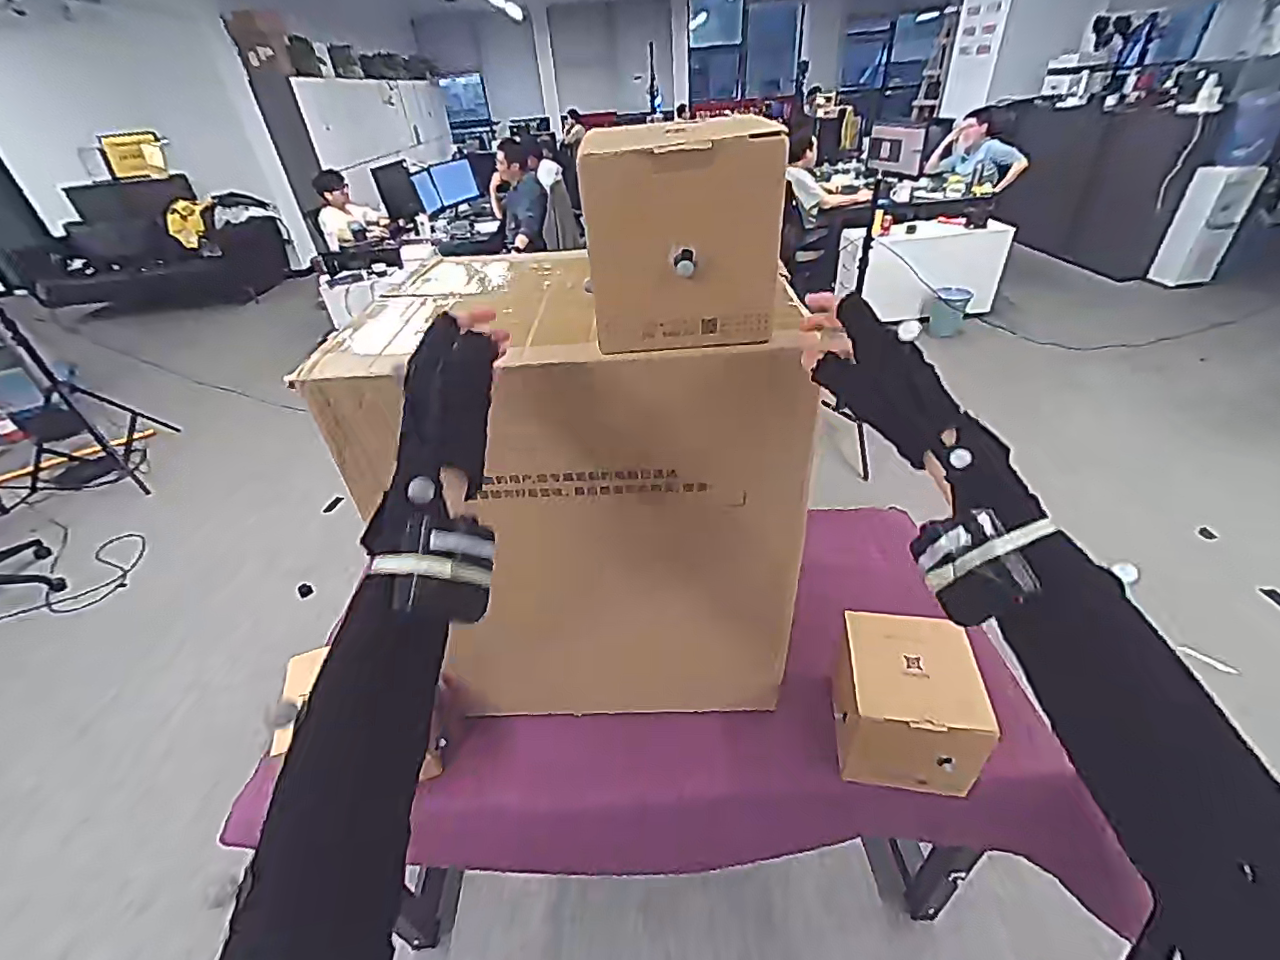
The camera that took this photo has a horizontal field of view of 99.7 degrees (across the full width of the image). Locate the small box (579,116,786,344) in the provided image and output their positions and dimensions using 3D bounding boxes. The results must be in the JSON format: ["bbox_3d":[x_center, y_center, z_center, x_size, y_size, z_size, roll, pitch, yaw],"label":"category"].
[{"bbox_3d":[0.040,-0.241,0.532,0.168,0.176,0.179,-4,38,2],"label":"small box"}]

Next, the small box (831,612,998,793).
[{"bbox_3d":[0.378,0.320,0.782,0.168,0.176,0.179,3,35,10],"label":"small box"}]

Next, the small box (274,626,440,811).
[{"bbox_3d":[-0.409,0.357,0.819,0.179,0.176,0.168,-14,36,-14],"label":"small box"}]
